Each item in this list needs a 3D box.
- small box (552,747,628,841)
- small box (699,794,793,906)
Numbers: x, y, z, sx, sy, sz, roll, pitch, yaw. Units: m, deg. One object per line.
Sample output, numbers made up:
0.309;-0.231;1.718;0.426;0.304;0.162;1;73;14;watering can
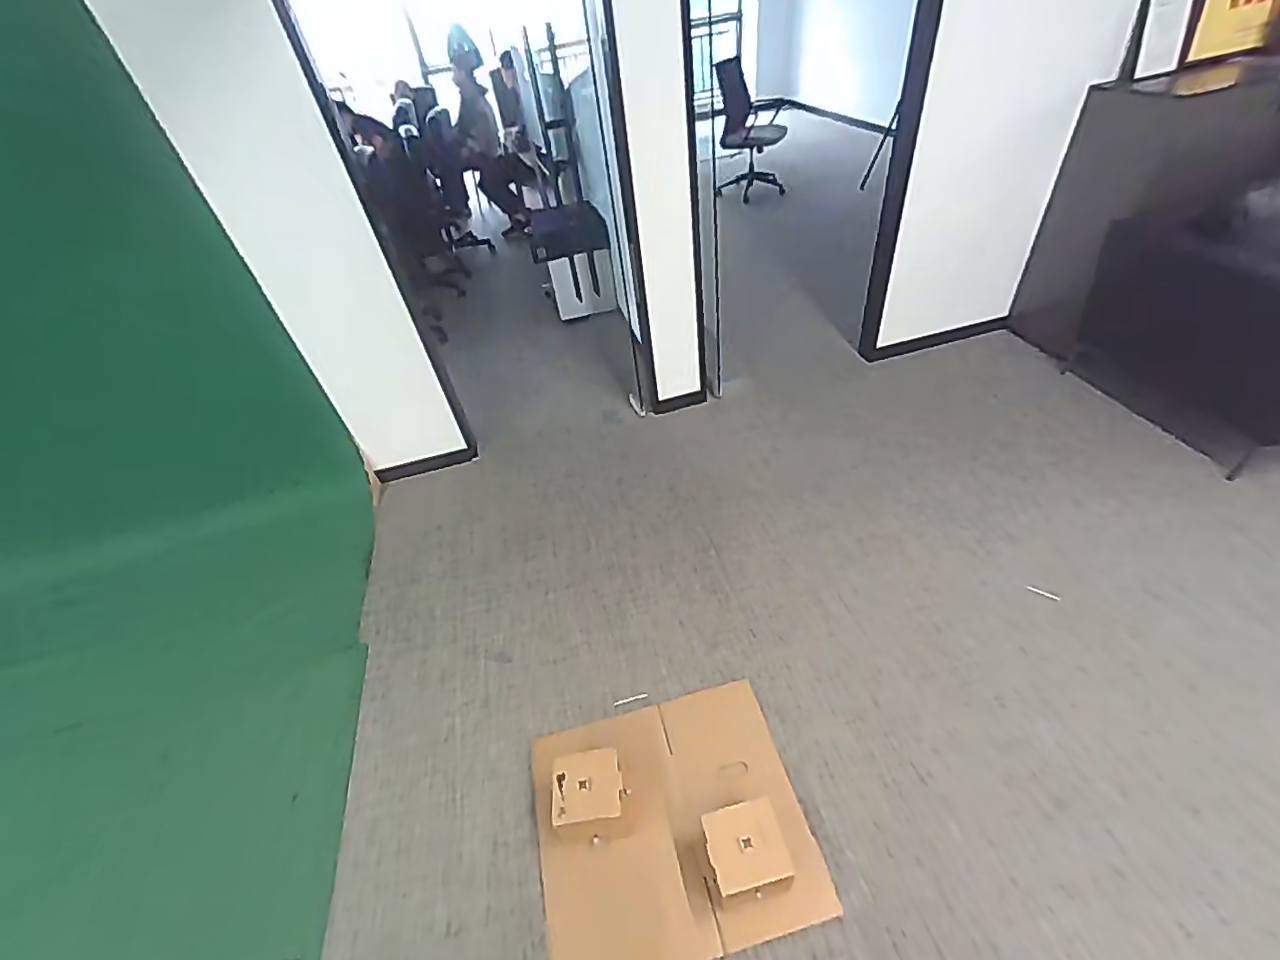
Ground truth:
-0.127;0.830;1.428;0.179;0.176;0.168;-8;42;1;small box
0.252;0.892;1.300;0.179;0.176;0.168;-14;43;-4;small box
